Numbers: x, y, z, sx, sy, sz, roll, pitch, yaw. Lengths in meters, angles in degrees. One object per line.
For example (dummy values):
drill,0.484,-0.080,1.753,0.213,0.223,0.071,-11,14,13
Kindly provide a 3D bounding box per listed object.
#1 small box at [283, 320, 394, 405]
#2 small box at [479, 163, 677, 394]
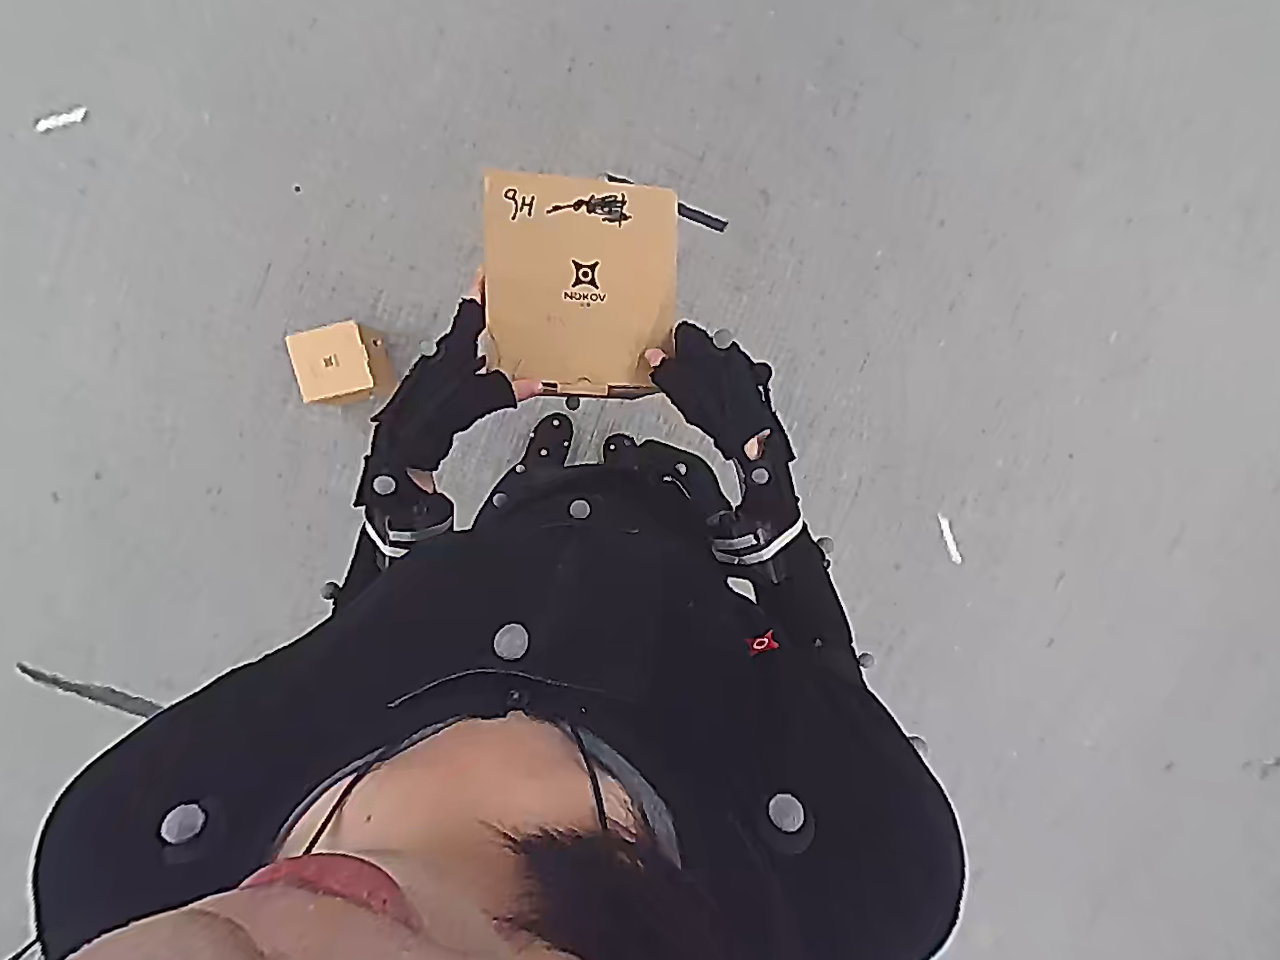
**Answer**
small box,-0.745,-0.290,1.363,0.179,0.176,0.168,-14,94,-1
small box,-0.065,-0.175,0.531,0.168,0.176,0.179,-1,96,-12
